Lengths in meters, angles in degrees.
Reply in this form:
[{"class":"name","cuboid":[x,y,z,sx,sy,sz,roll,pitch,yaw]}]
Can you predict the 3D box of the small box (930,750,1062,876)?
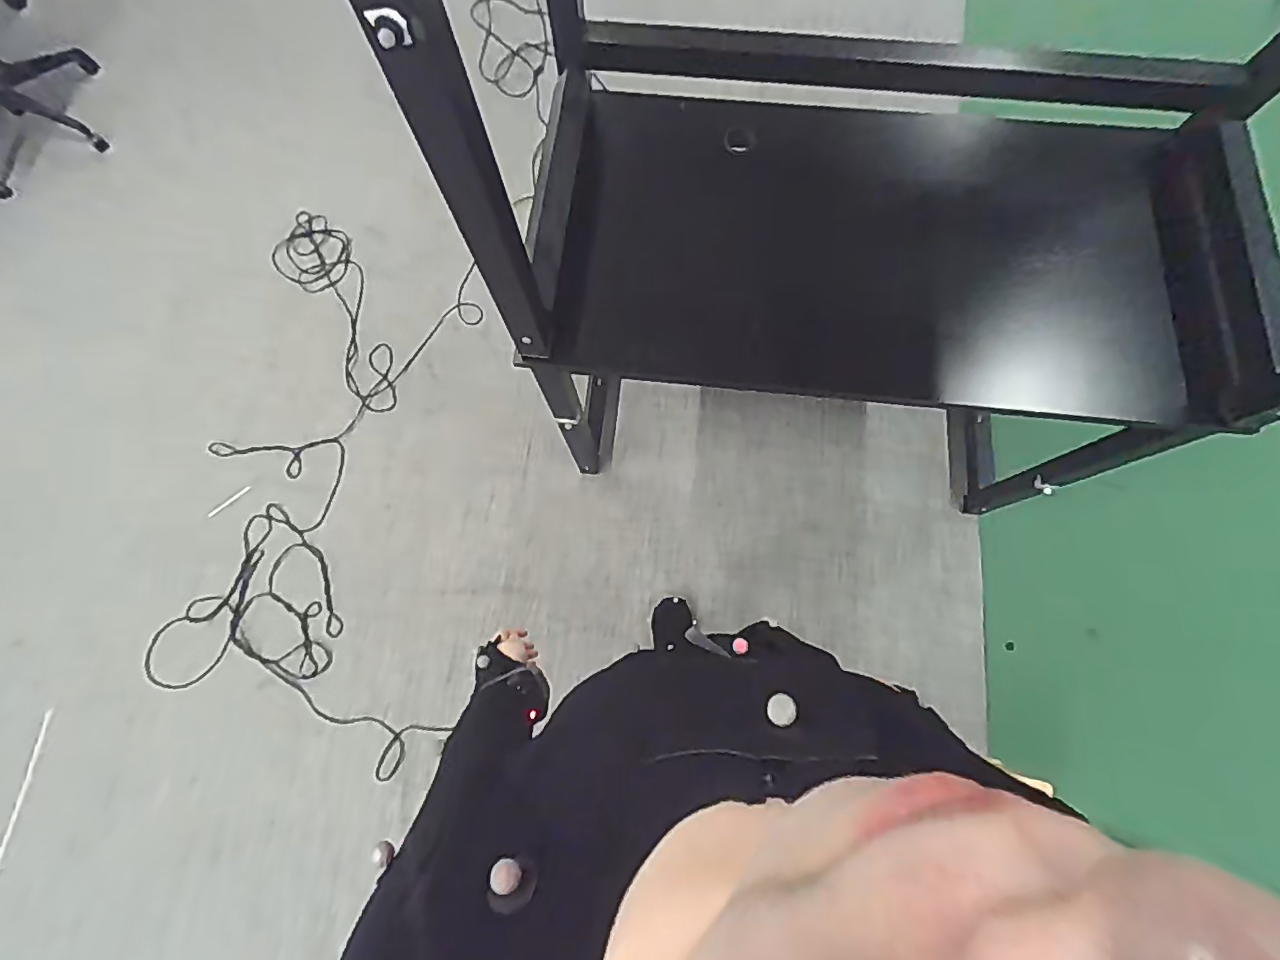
[{"class":"small box","cuboid":[0.737,0.685,1.135,0.179,0.176,0.168,13,75,5]}]
